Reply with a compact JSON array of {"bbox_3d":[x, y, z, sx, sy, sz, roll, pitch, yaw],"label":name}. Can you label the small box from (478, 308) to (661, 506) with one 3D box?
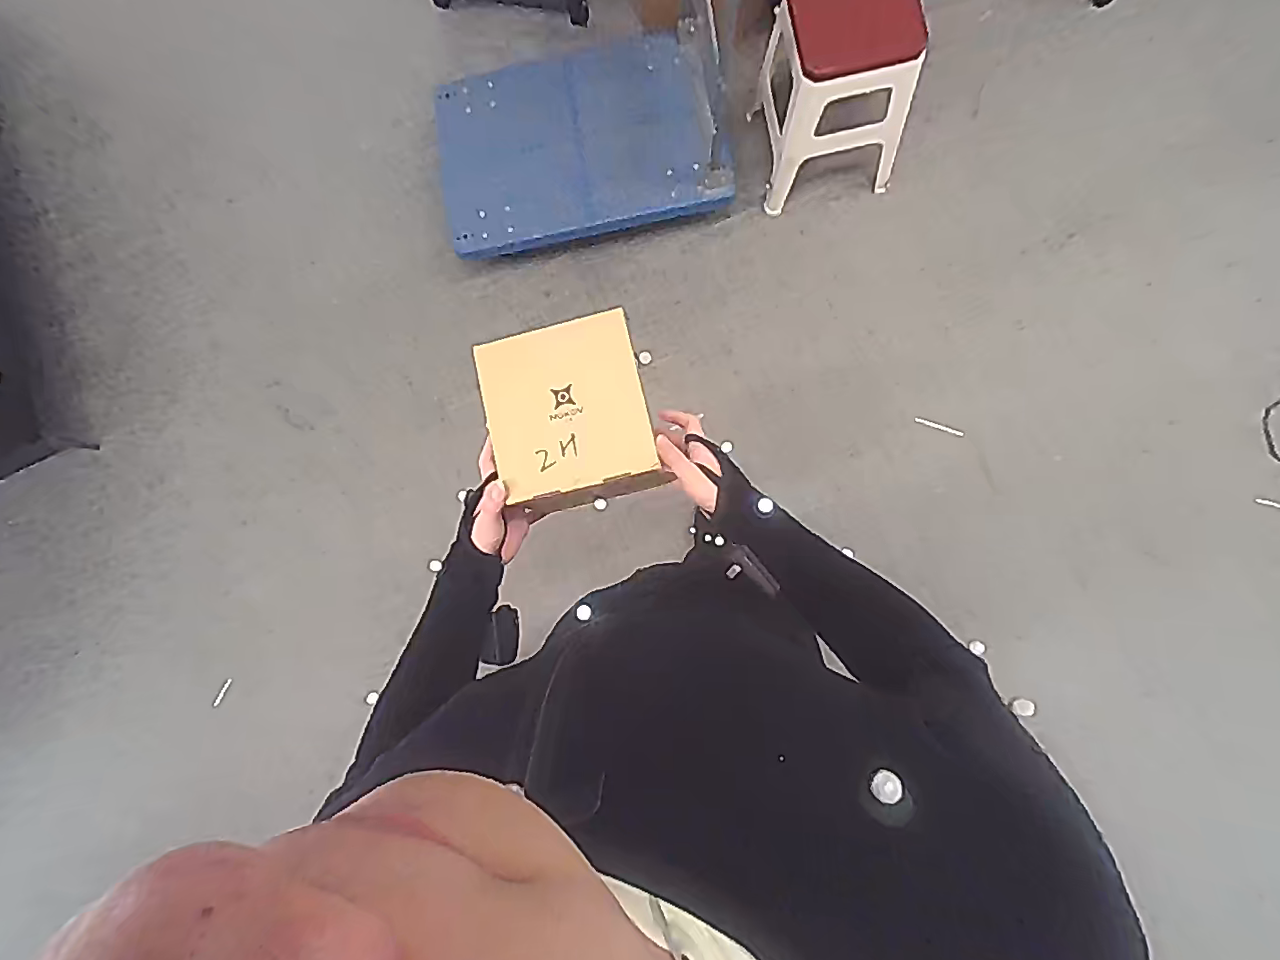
[{"bbox_3d":[-0.073,-0.073,0.644,0.168,0.176,0.179,-13,83,4],"label":"small box"}]
